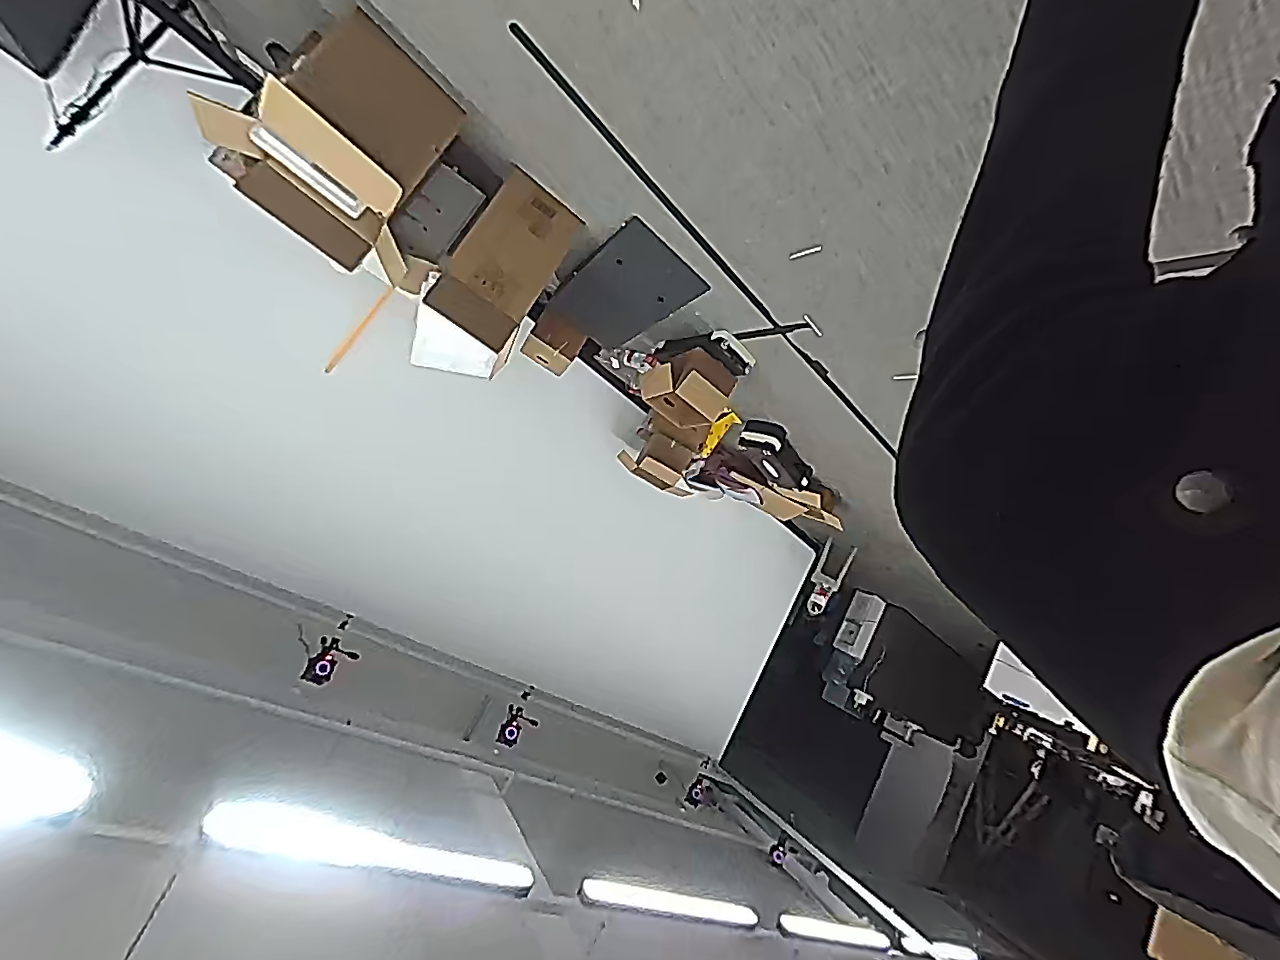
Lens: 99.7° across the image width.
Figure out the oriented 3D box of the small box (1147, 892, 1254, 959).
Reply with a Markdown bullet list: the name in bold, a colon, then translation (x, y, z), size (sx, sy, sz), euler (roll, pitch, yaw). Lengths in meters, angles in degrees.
- **small box**: translation (1.562, 1.292, 1.507), size (0.179, 0.176, 0.168), euler (33, 168, -28)
